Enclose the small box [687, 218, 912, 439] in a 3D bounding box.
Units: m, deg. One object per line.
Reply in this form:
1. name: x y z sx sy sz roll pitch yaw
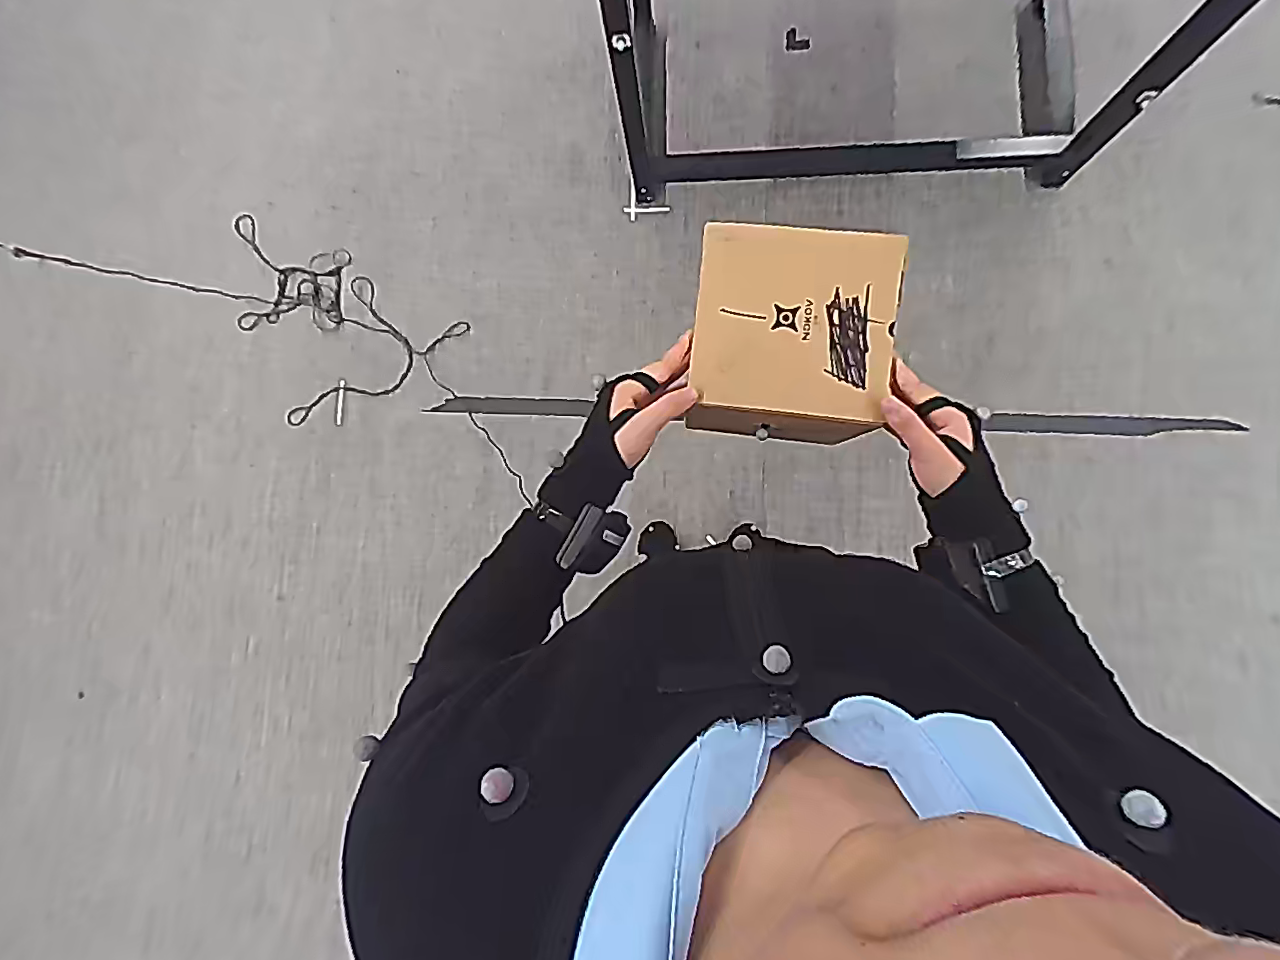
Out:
1. small box: 0.145 -0.137 0.550 0.179 0.176 0.168 7 88 6
